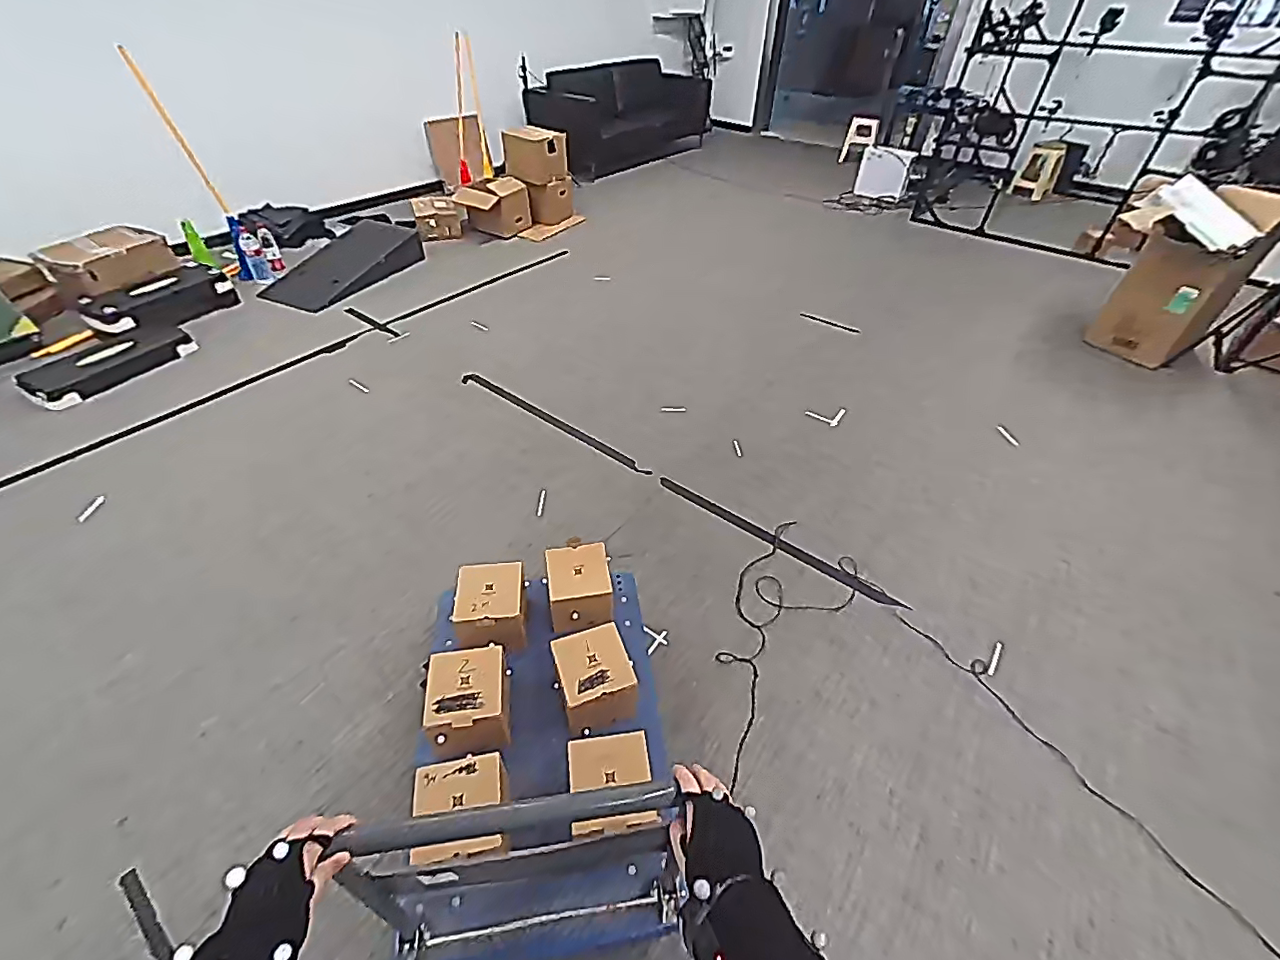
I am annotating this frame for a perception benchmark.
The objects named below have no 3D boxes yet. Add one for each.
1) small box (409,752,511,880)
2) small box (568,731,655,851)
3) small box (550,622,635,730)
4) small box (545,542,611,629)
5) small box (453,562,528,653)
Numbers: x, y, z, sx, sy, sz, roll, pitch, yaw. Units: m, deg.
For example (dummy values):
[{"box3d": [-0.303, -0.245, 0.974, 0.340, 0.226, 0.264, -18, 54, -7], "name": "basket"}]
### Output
[{"box3d": [-0.357, 0.686, 1.098, 0.168, 0.176, 0.179, -6, 44, -11], "name": "small box"}, {"box3d": [-0.063, 0.661, 1.144, 0.168, 0.176, 0.179, -4, 43, -8], "name": "small box"}, {"box3d": [-0.115, 0.487, 1.327, 0.168, 0.176, 0.179, -13, 44, -17], "name": "small box"}, {"box3d": [-0.173, 0.303, 1.521, 0.168, 0.176, 0.179, -6, 44, -10], "name": "small box"}, {"box3d": [-0.396, 0.344, 1.460, 0.168, 0.176, 0.179, -3, 44, -7], "name": "small box"}]
